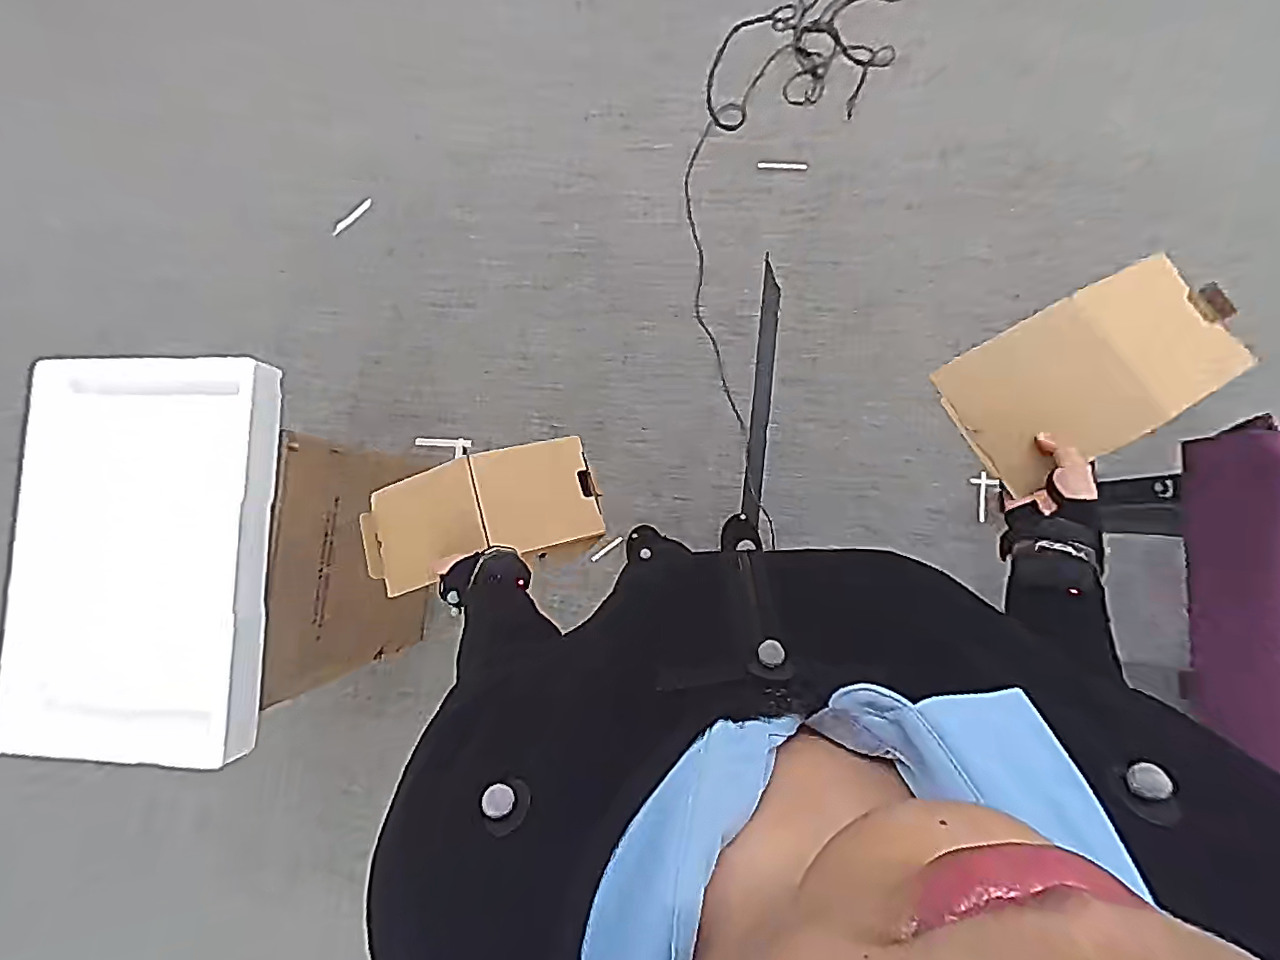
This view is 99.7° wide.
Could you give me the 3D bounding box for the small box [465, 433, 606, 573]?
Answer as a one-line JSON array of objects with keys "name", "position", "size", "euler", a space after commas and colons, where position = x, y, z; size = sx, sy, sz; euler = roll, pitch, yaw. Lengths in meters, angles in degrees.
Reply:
[{"name": "small box", "position": [-0.172, 0.043, 0.865], "size": [0.179, 0.176, 0.168], "euler": [-13, 77, -20]}]
